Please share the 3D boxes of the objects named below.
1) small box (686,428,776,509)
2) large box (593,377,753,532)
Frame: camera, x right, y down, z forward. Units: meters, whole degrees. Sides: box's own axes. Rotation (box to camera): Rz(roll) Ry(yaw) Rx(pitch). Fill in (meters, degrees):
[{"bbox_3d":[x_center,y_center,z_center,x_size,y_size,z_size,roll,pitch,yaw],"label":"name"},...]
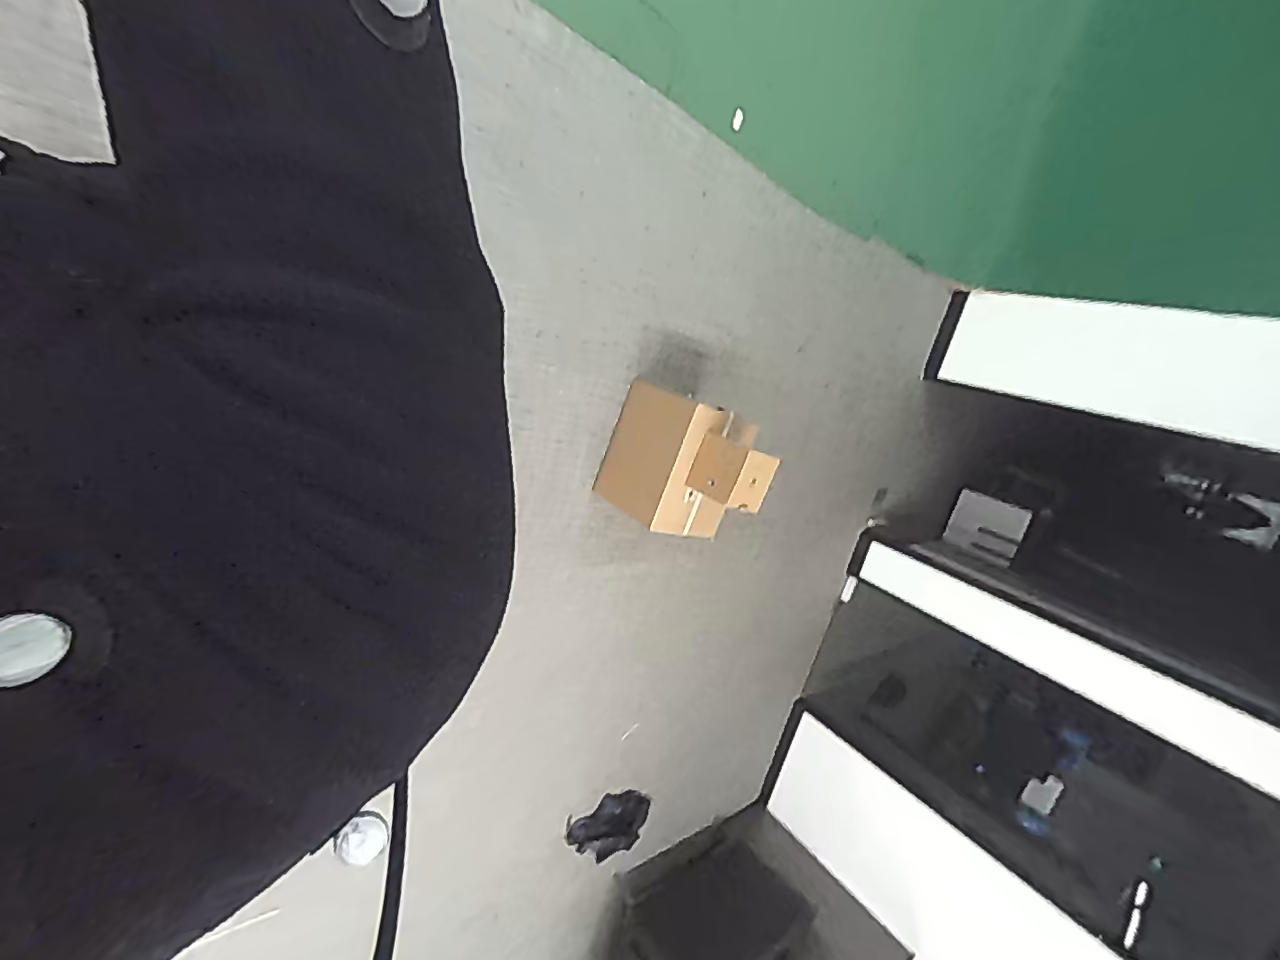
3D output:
[{"bbox_3d":[0.261,-0.034,1.589,0.168,0.176,0.179,12,102,-46],"label":"small box"},{"bbox_3d":[0.100,-0.082,1.770,0.320,0.320,0.408,11,104,-43],"label":"large box"}]
